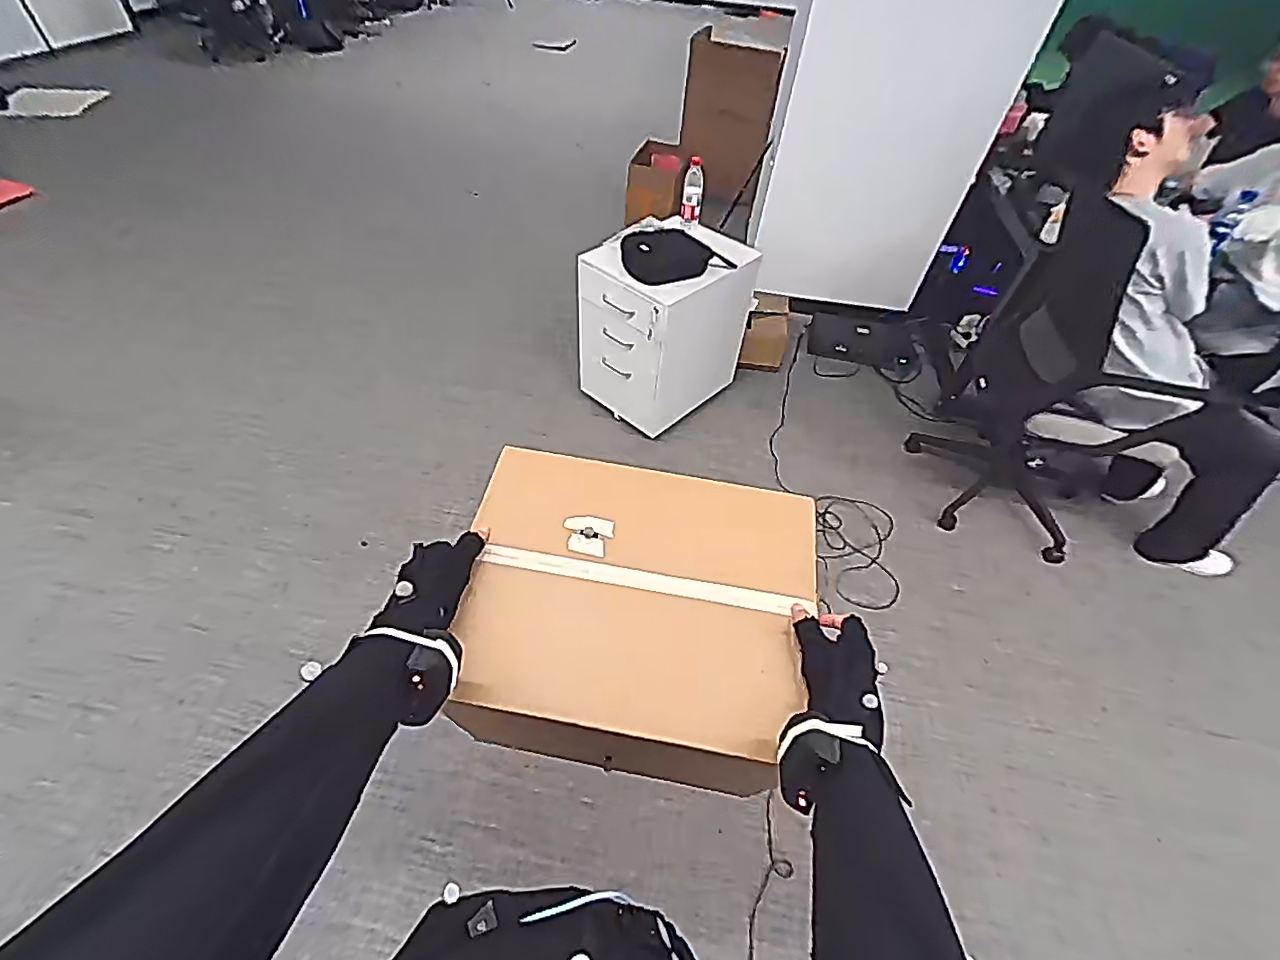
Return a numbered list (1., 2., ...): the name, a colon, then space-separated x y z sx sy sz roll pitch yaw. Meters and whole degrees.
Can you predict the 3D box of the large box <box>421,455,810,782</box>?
1. large box: -0.009 0.202 0.744 0.408 0.320 0.320 9 55 4
